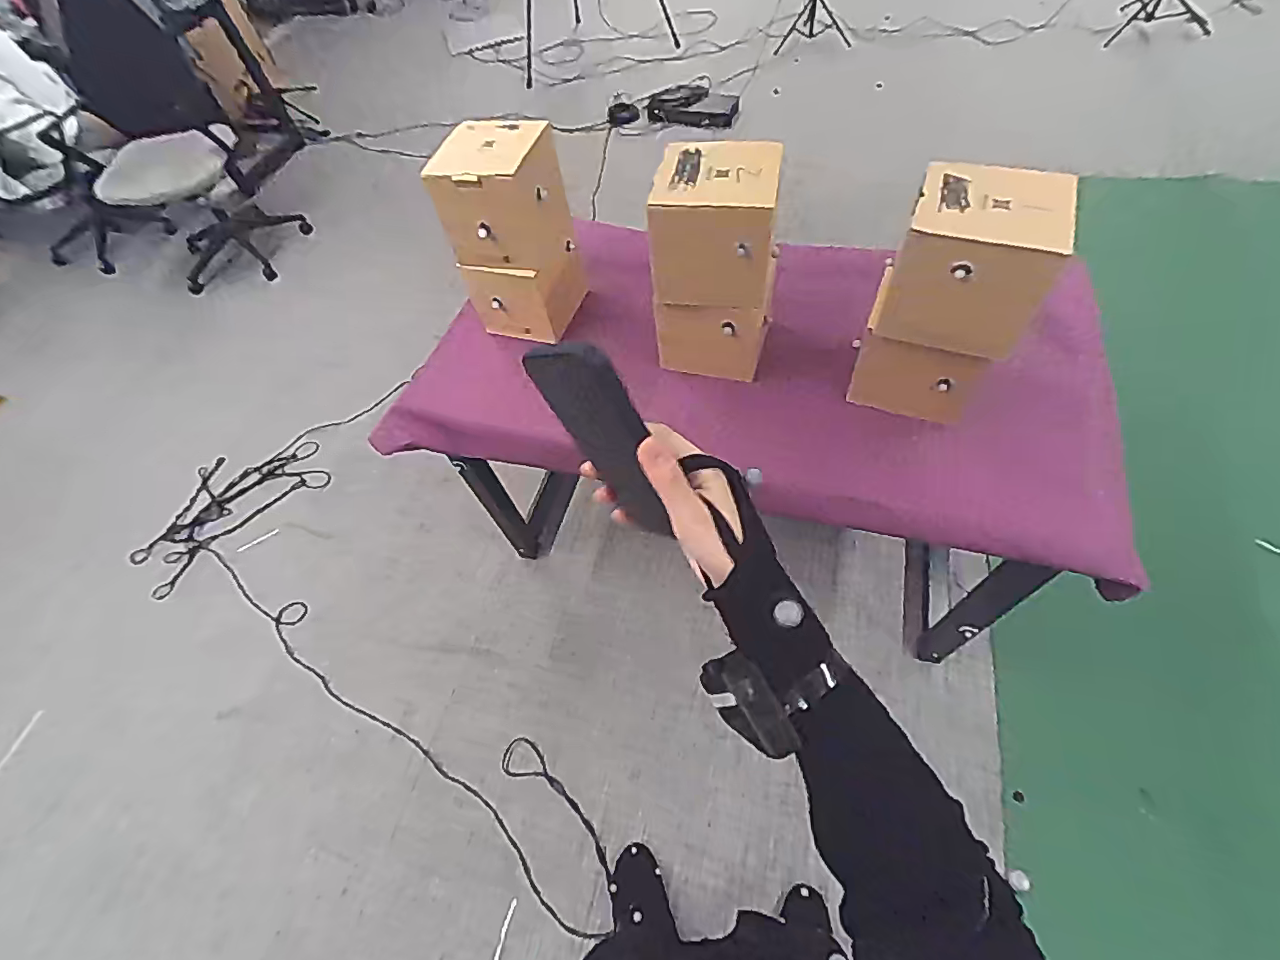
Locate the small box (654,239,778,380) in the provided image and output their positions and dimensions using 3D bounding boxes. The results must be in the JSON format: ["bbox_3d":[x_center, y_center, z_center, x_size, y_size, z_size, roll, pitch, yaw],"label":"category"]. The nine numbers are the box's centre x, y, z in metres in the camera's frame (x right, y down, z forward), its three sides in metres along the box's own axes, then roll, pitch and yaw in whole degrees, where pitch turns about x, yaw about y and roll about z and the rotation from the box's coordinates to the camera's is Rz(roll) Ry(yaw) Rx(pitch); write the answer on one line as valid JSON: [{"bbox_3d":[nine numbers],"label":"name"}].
[{"bbox_3d":[0.138,-0.301,0.970,0.179,0.176,0.168,13,60,15],"label":"small box"}]

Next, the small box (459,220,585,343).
[{"bbox_3d":[-0.223,-0.400,1.084,0.168,0.176,0.179,13,60,16],"label":"small box"}]

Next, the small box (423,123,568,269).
[{"bbox_3d":[-0.239,-0.495,0.951,0.168,0.176,0.179,9,60,12],"label":"small box"}]

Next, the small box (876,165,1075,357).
[{"bbox_3d":[0.439,-0.291,0.728,0.179,0.176,0.168,18,61,18],"label":"small box"}]

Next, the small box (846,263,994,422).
[{"bbox_3d":[0.454,-0.217,0.875,0.179,0.176,0.168,18,61,19],"label":"small box"}]
